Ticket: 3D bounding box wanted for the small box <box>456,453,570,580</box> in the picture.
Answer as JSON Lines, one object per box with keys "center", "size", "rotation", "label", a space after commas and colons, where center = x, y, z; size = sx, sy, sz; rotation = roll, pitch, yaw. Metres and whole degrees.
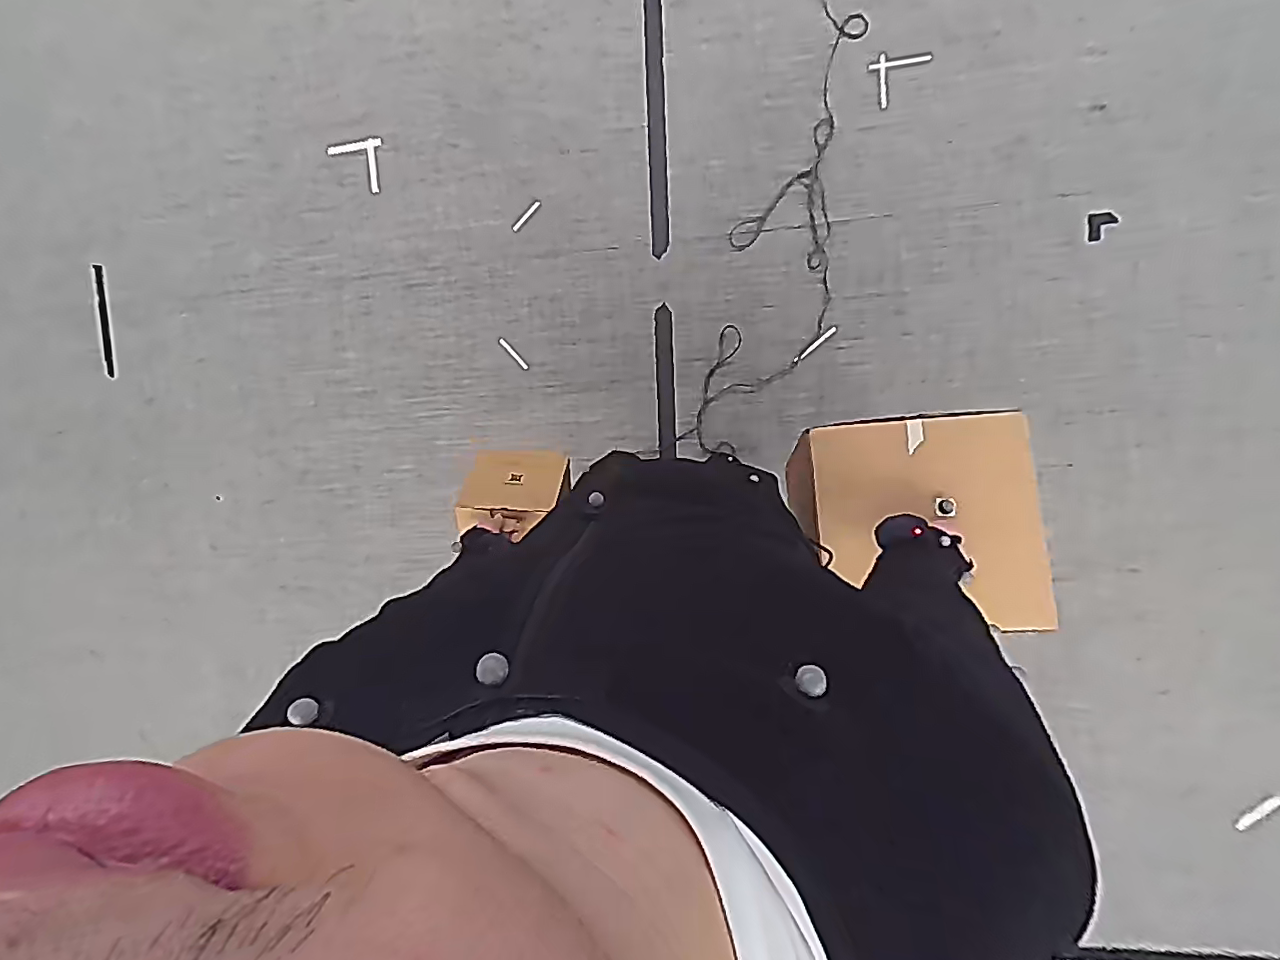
{"center": [-0.224, 0.068, 1.008], "size": [0.168, 0.179, 0.176], "rotation": [3, 125, 0], "label": "small box"}
